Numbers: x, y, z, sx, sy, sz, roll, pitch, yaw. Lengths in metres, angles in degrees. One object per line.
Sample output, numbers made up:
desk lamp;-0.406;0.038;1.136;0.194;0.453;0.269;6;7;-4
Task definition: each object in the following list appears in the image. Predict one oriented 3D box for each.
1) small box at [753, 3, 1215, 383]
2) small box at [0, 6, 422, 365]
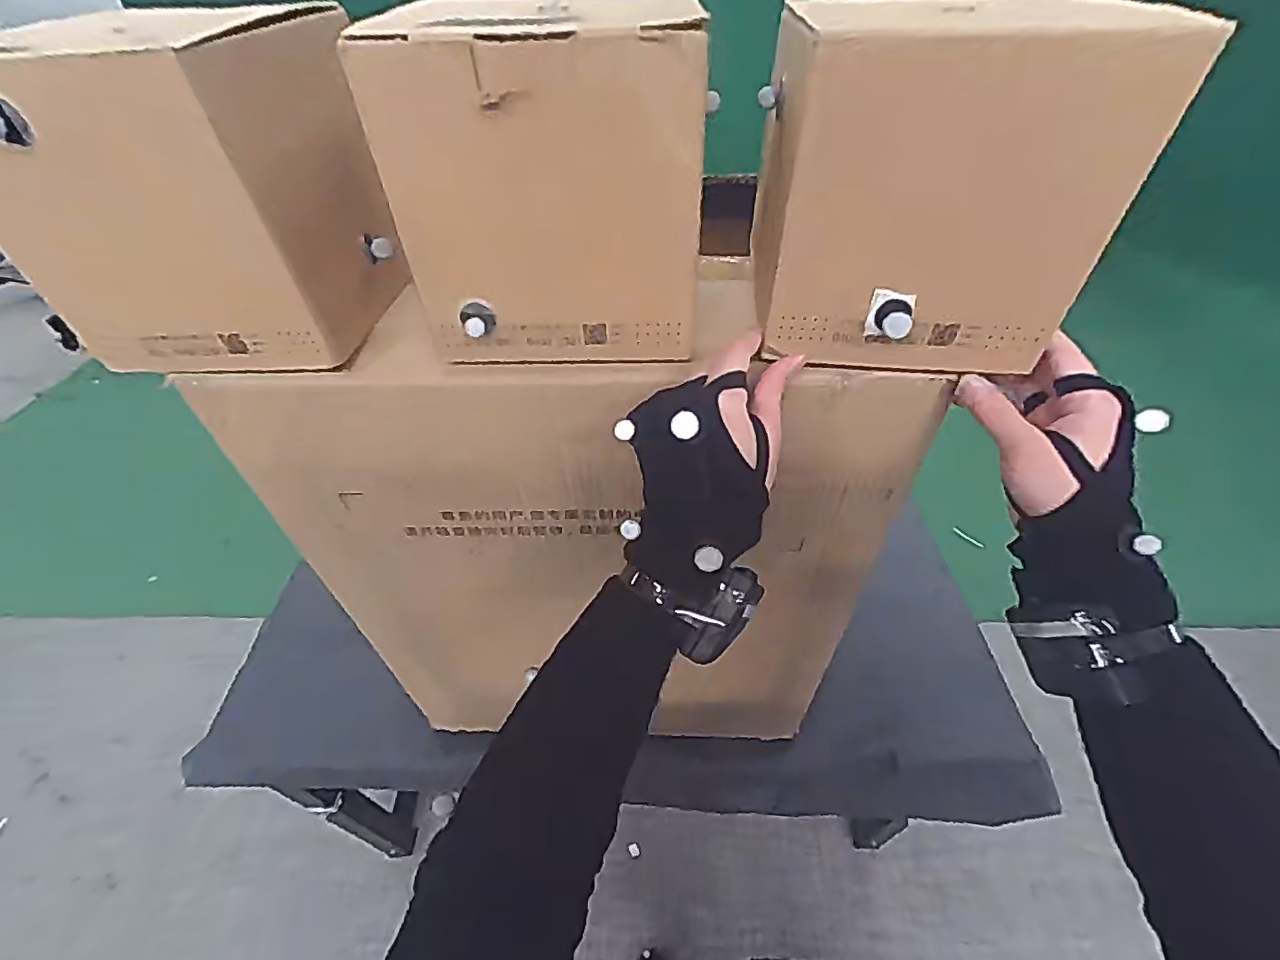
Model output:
small box;0.167;-0.184;0.345;0.168;0.176;0.179;3;47;5
small box;-0.269;-0.195;0.361;0.168;0.176;0.179;0;45;5
